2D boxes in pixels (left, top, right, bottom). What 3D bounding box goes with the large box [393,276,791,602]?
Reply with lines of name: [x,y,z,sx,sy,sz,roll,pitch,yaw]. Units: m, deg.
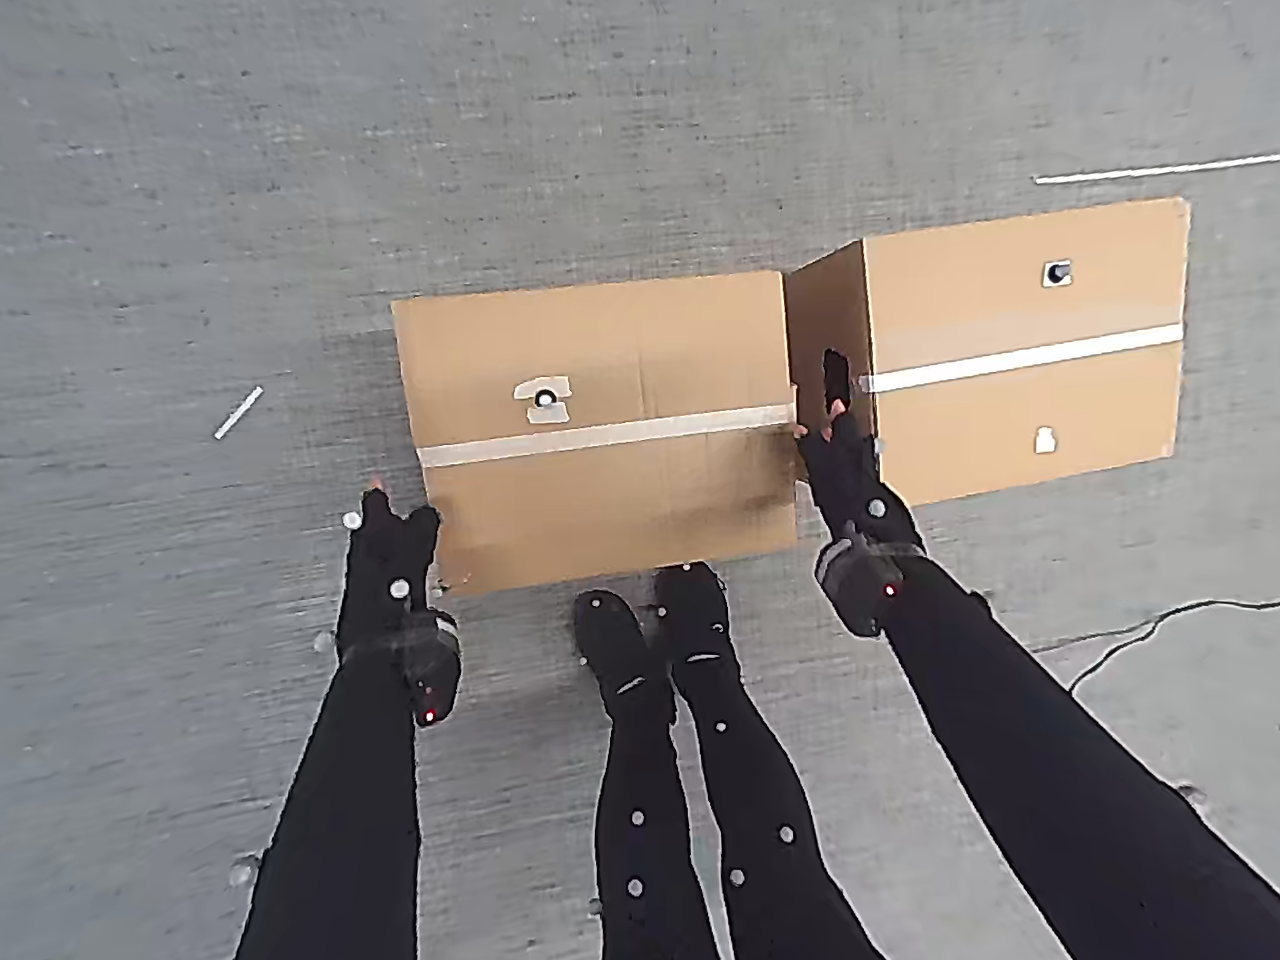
large box: [-0.052,-0.066,0.727,0.408,0.320,0.320,-7,99,-6]
